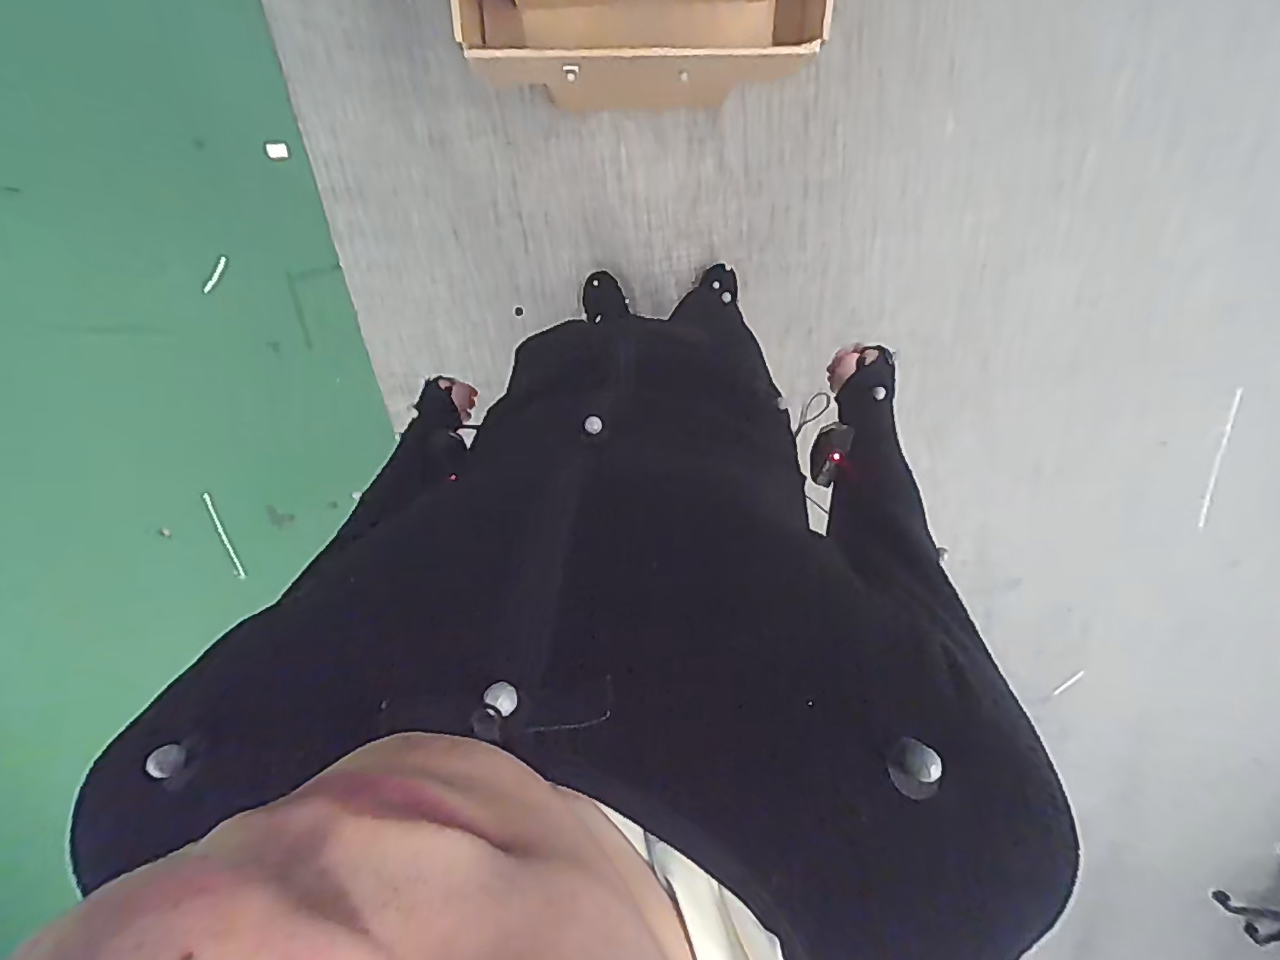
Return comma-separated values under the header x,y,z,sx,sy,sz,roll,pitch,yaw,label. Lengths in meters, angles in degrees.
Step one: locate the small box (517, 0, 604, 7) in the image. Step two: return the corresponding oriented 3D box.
x,y,z,sx,sy,sz,roll,pitch,yaw,label
-0.138,-0.890,0.859,0.179,0.176,0.168,-3,113,1,small box
